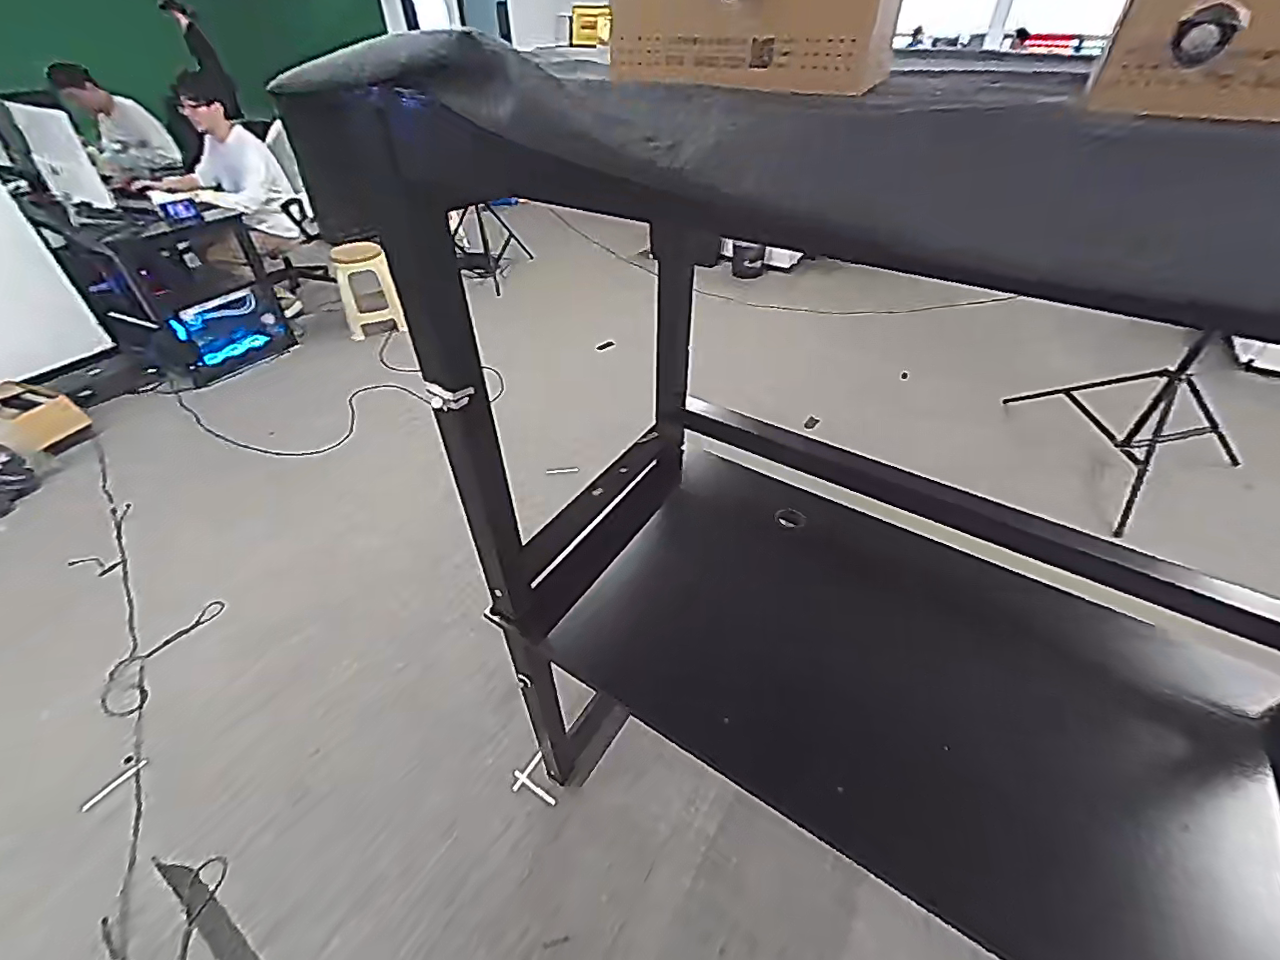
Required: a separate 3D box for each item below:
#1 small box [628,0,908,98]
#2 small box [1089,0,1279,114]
[{"bbox_3d":[0.094,-0.362,0.352,0.168,0.176,0.179,16,43,19],"label":"small box"},{"bbox_3d":[0.345,-0.272,0.247,0.168,0.176,0.179,23,44,24],"label":"small box"}]
